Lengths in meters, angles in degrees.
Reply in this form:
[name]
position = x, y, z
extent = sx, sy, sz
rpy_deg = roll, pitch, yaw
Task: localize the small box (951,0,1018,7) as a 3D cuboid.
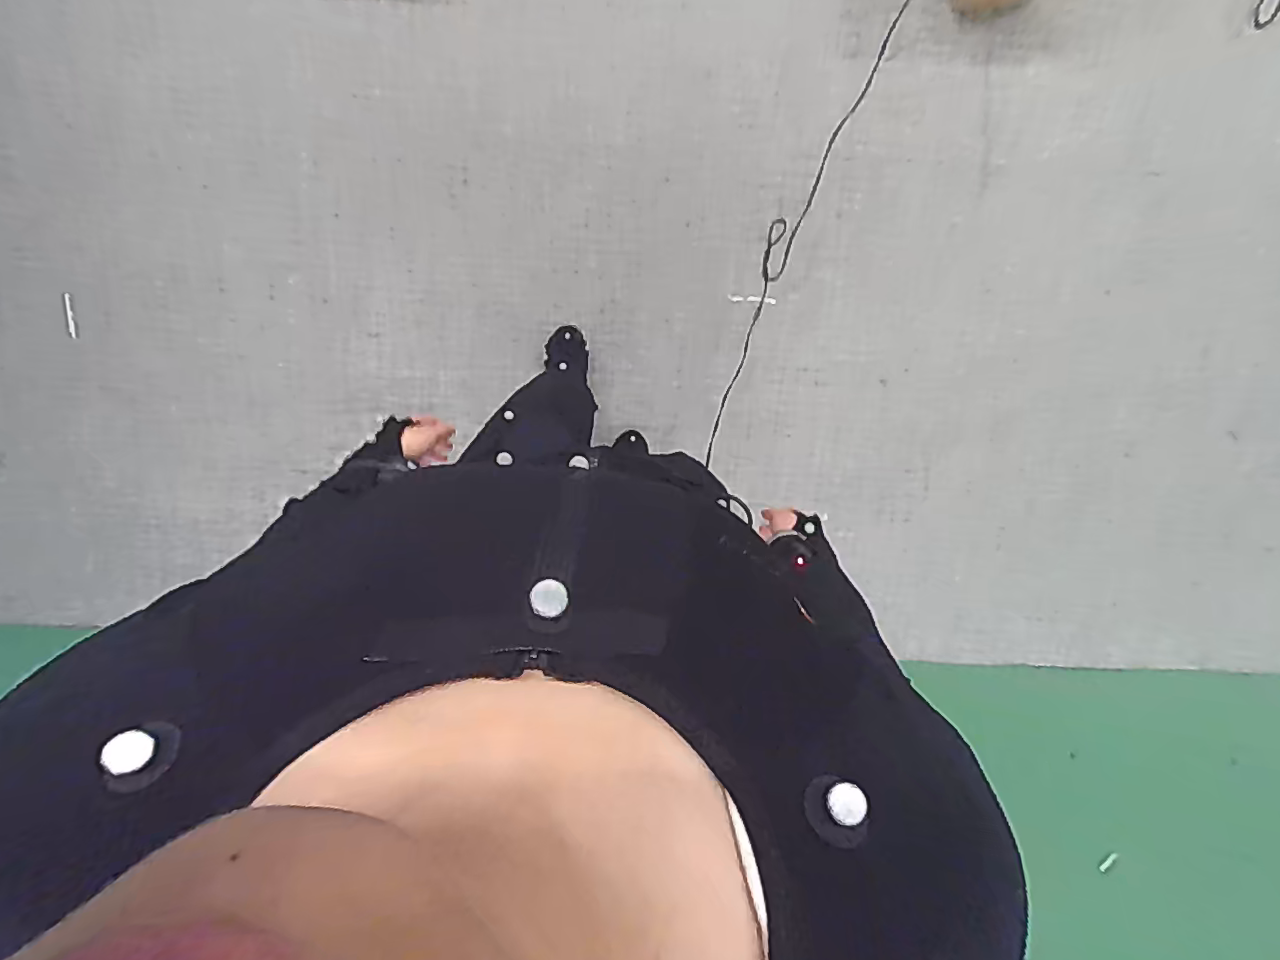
[small box]
position = 0.787, -1.149, 1.144
extent = 0.179, 0.176, 0.168
rpy_deg = -5, 102, 1
